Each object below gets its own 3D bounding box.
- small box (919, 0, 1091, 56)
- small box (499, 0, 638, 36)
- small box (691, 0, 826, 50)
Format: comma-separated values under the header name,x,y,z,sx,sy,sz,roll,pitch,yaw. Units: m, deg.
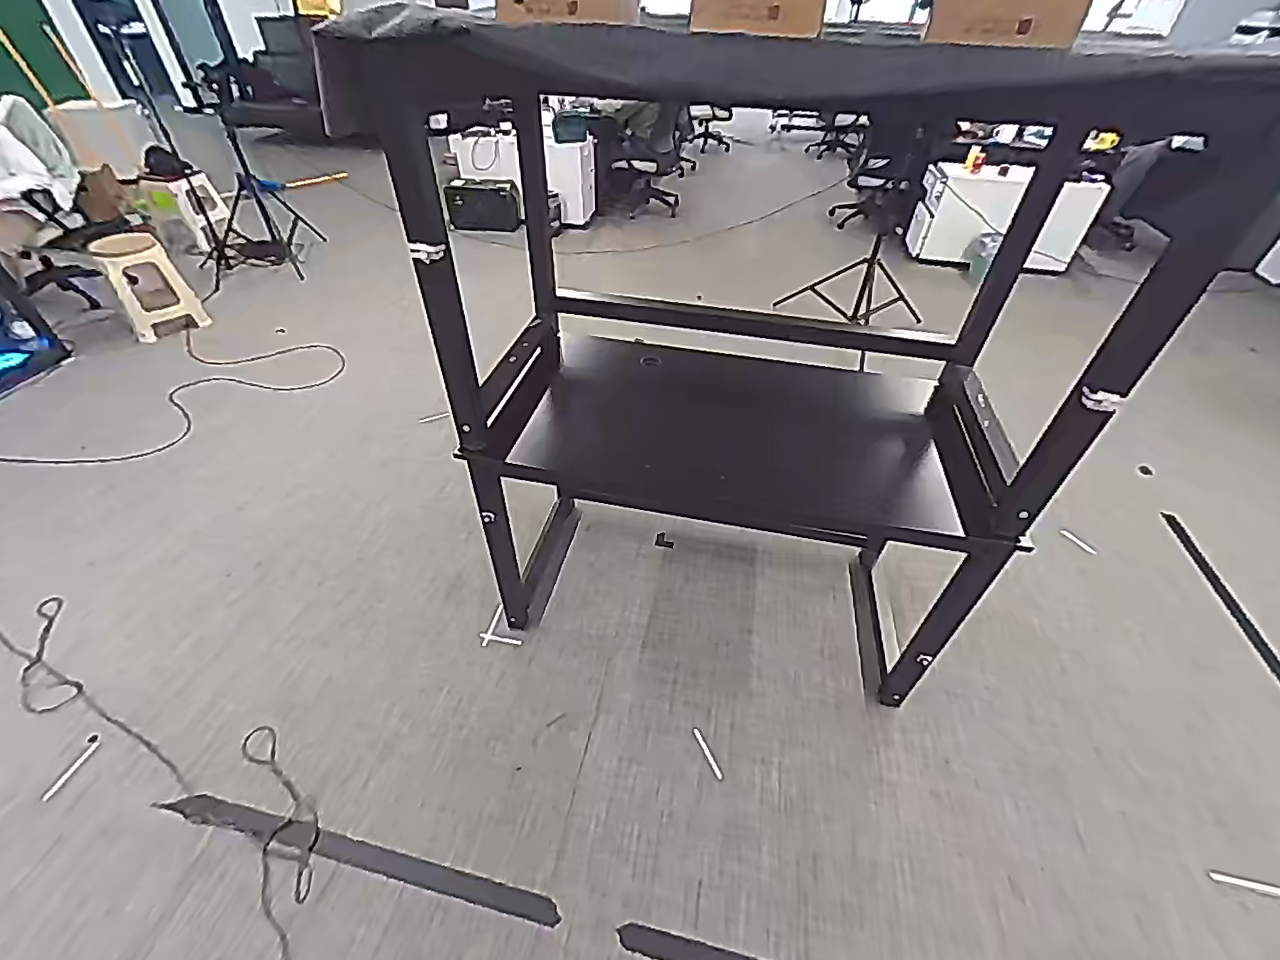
name,x,y,z,sx,sy,sz,roll,pitch,yaw
small box,0.454,-0.626,0.654,0.168,0.176,0.179,14,43,14
small box,-0.091,-0.702,0.718,0.168,0.176,0.179,8,40,5
small box,0.161,-0.667,0.692,0.168,0.176,0.179,9,41,7
